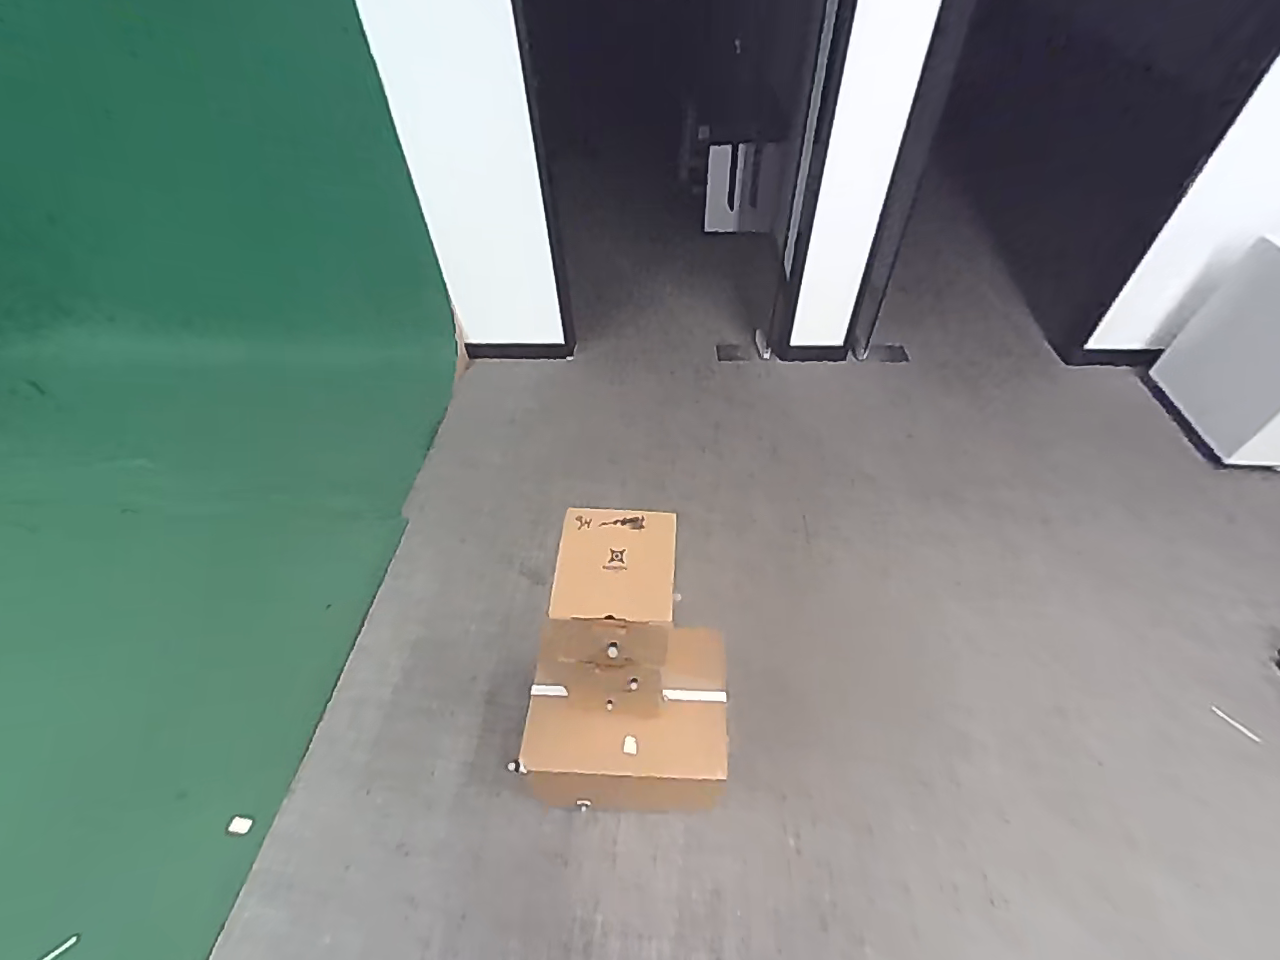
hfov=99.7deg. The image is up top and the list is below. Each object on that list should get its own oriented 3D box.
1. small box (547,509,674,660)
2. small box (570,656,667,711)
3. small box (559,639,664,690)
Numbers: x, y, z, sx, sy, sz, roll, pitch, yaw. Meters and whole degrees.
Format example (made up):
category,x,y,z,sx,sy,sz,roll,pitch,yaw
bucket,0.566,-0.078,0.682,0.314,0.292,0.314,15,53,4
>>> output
category,x,y,z,sx,sy,sz,roll,pitch,yaw
small box,-0.034,0.164,0.827,0.168,0.176,0.179,2,55,4
small box,-0.035,0.359,1.087,0.179,0.176,0.168,1,54,3
small box,-0.039,0.262,0.958,0.168,0.176,0.179,2,53,3
